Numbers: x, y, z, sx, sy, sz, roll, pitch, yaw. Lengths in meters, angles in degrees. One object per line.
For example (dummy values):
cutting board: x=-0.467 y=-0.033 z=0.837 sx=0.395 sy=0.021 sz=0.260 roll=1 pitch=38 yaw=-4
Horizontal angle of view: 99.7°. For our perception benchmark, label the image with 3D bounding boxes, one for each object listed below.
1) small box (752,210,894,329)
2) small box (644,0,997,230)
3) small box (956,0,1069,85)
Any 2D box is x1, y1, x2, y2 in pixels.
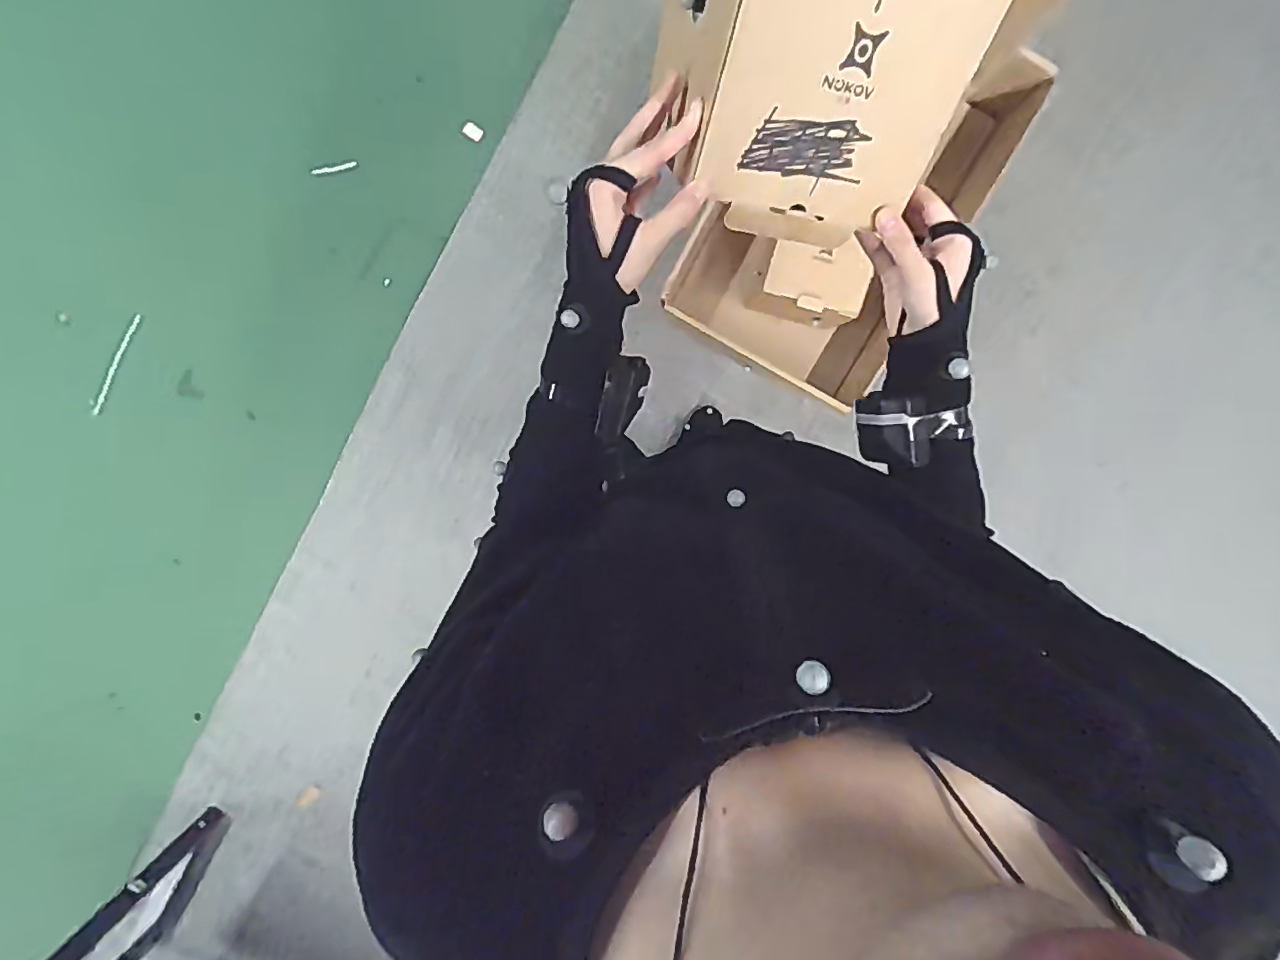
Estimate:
small box: x=0.306 y=-0.378 z=0.950 sx=0.168 sy=0.176 sz=0.179 roll=16 pitch=98 yaw=-1
small box: x=0.108 y=-0.310 z=0.386 sx=0.168 sy=0.176 sz=0.179 roll=2 pitch=132 yaw=-17
small box: x=0.391 y=-0.591 z=0.585 sx=0.168 sy=0.176 sz=0.179 roll=27 pitch=99 yaw=-1
